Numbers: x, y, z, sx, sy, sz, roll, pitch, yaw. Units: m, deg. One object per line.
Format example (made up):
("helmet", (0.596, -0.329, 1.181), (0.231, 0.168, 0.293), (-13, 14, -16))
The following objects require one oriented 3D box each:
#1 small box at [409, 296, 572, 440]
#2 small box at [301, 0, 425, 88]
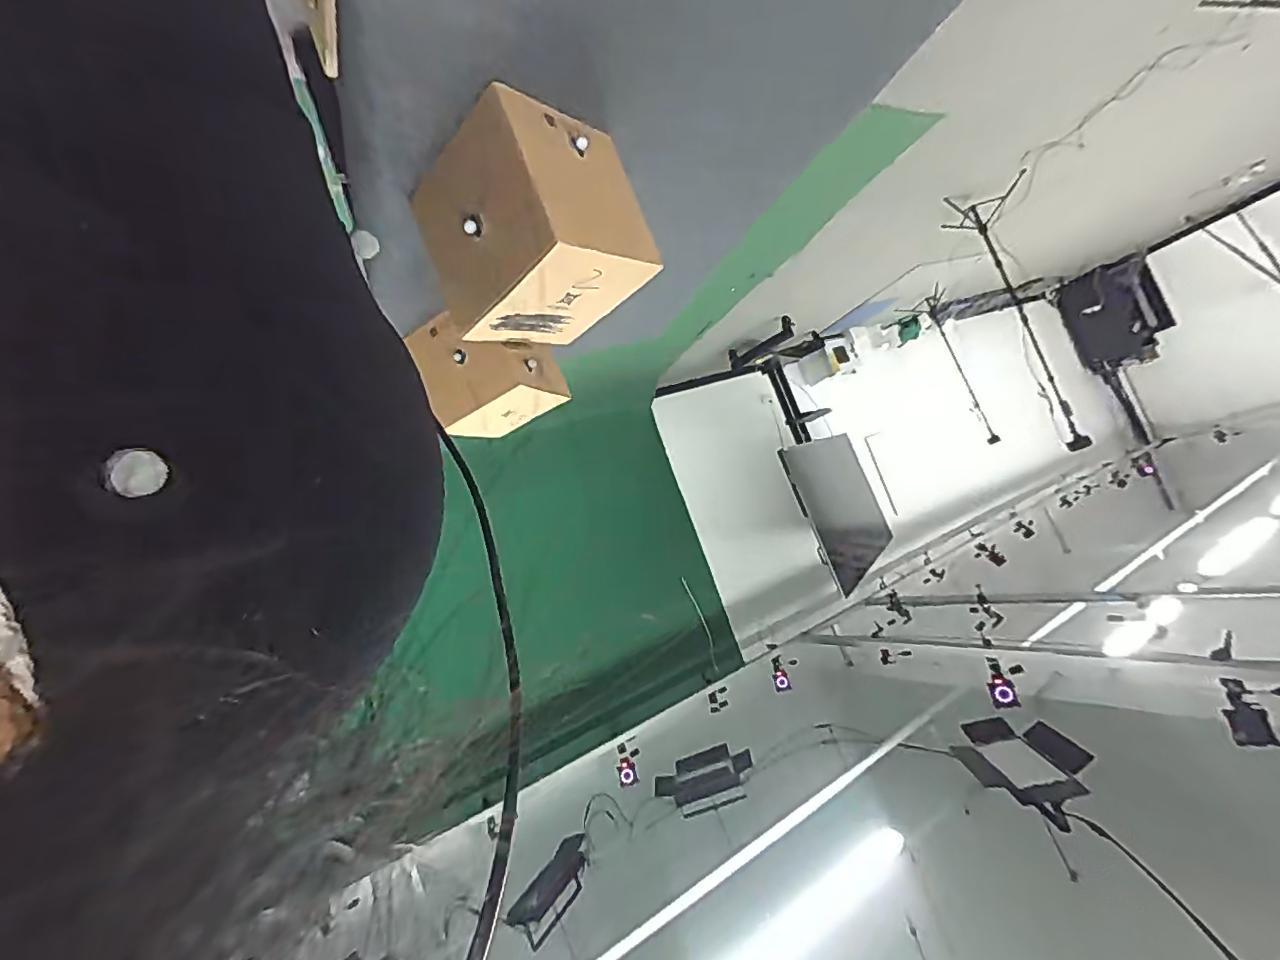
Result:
("small box", (-0.247, -0.180, 0.900), (0.168, 0.176, 0.179), (-25, 174, 17))
("small box", (-0.506, -0.862, 0.974), (0.168, 0.176, 0.179), (-17, 175, -31))
